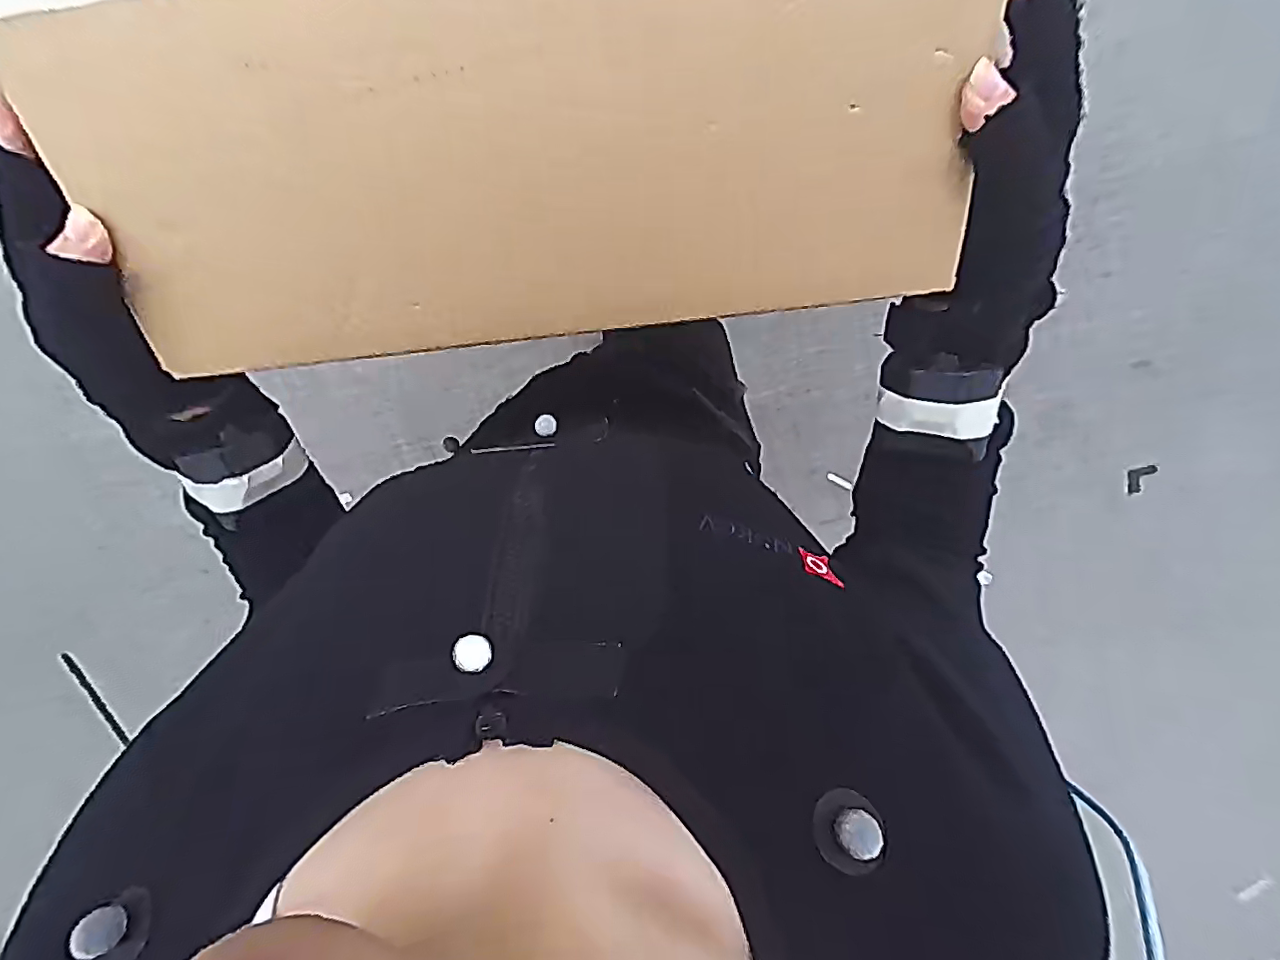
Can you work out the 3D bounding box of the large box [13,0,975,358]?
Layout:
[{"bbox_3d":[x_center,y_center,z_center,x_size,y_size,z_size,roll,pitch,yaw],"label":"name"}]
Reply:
[{"bbox_3d":[-0.065,-0.294,0.342,0.408,0.320,0.320,-6,120,3],"label":"large box"}]
